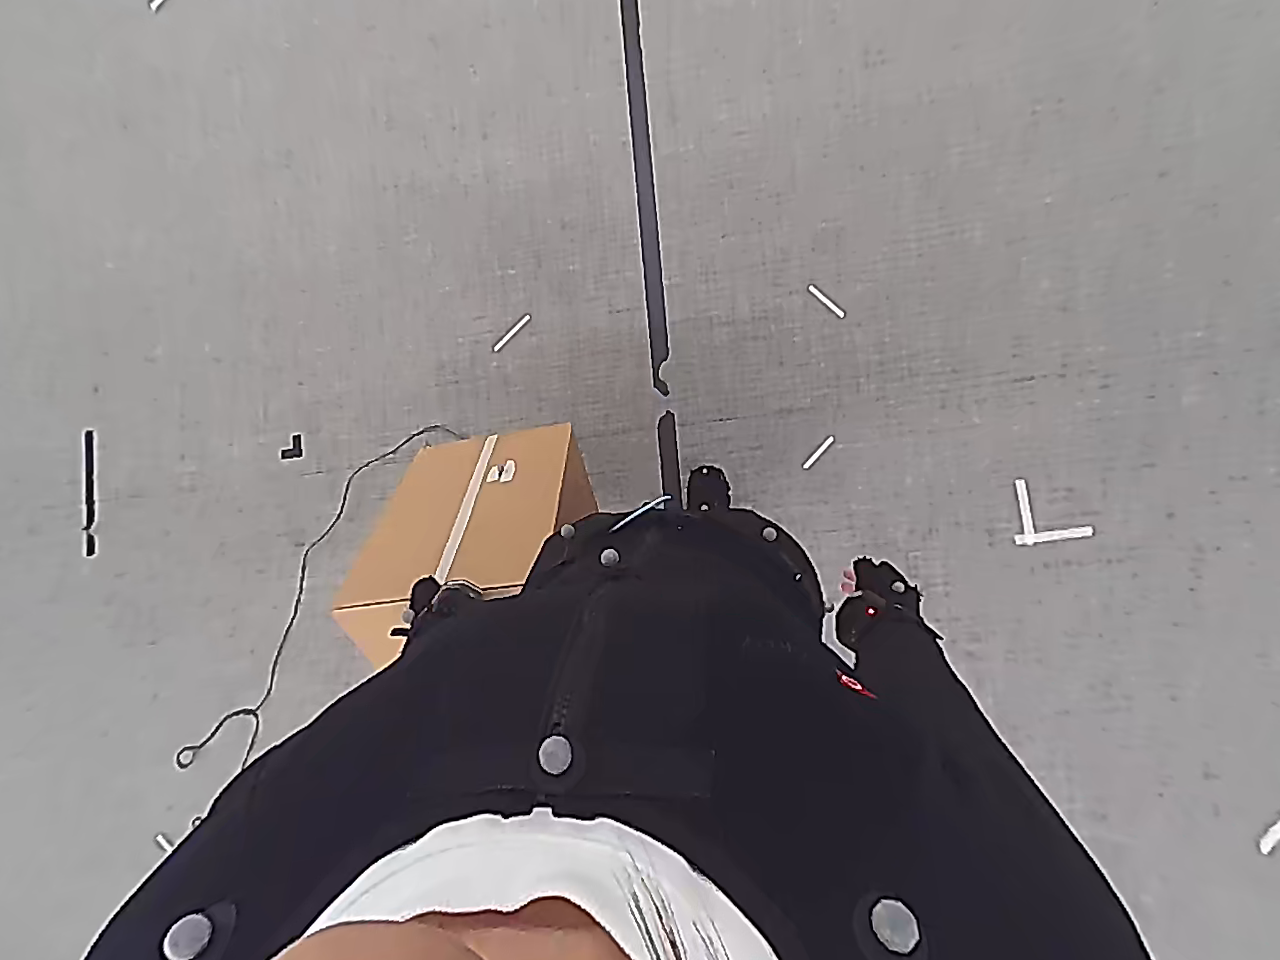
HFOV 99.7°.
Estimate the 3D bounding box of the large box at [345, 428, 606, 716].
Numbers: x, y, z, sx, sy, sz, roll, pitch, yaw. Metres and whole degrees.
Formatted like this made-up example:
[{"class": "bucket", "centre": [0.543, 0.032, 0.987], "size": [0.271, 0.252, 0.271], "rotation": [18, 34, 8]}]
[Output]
[{"class": "large box", "centre": [-0.251, 0.158, 1.001], "size": [0.320, 0.408, 0.320], "rotation": [-9, 126, 7]}]
